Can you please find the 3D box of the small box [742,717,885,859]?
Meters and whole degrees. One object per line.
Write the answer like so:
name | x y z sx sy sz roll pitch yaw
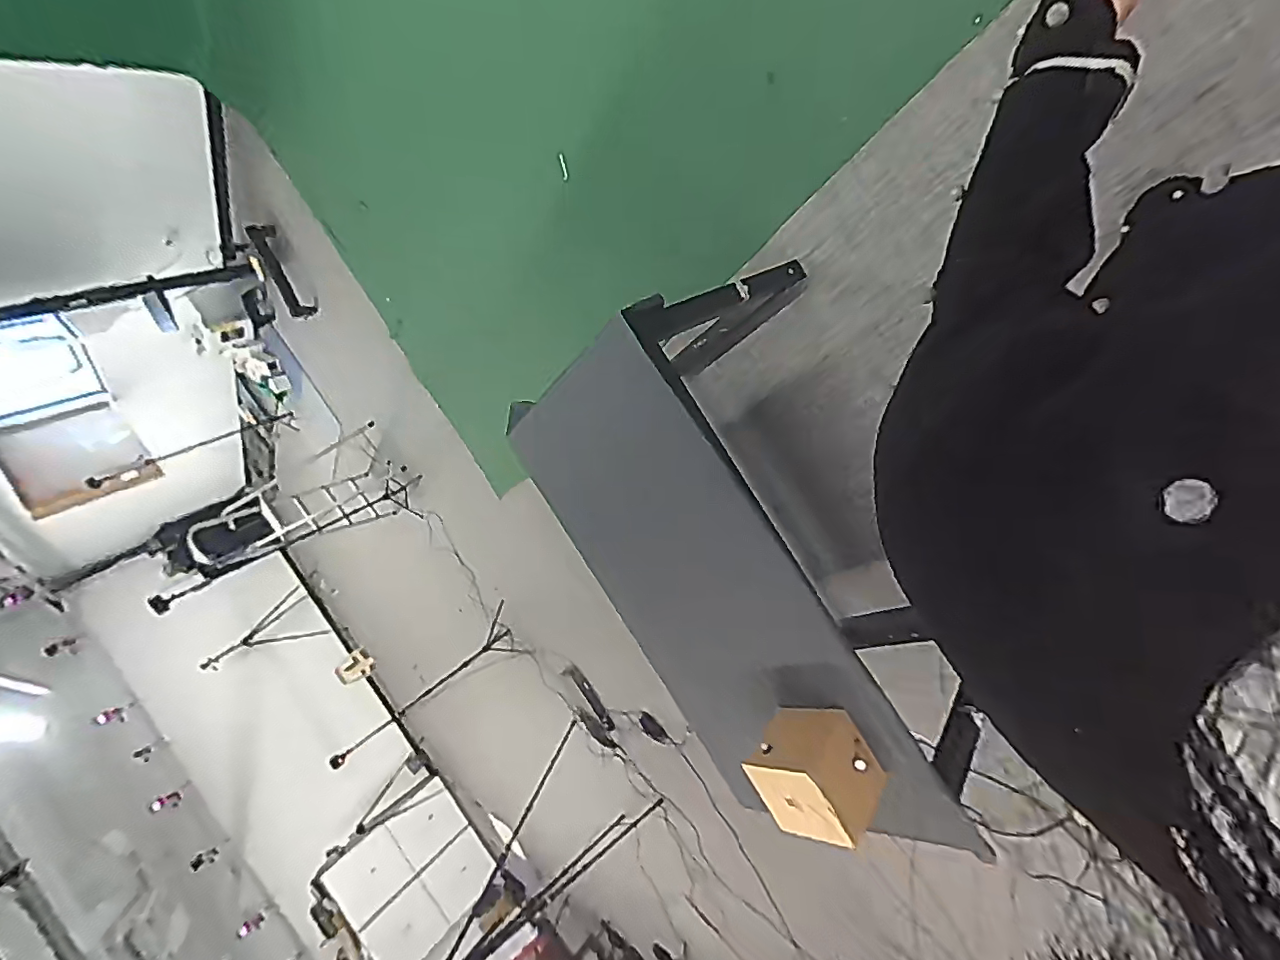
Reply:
small box | 0.343 0.590 1.062 0.179 0.176 0.168 -29 94 49
